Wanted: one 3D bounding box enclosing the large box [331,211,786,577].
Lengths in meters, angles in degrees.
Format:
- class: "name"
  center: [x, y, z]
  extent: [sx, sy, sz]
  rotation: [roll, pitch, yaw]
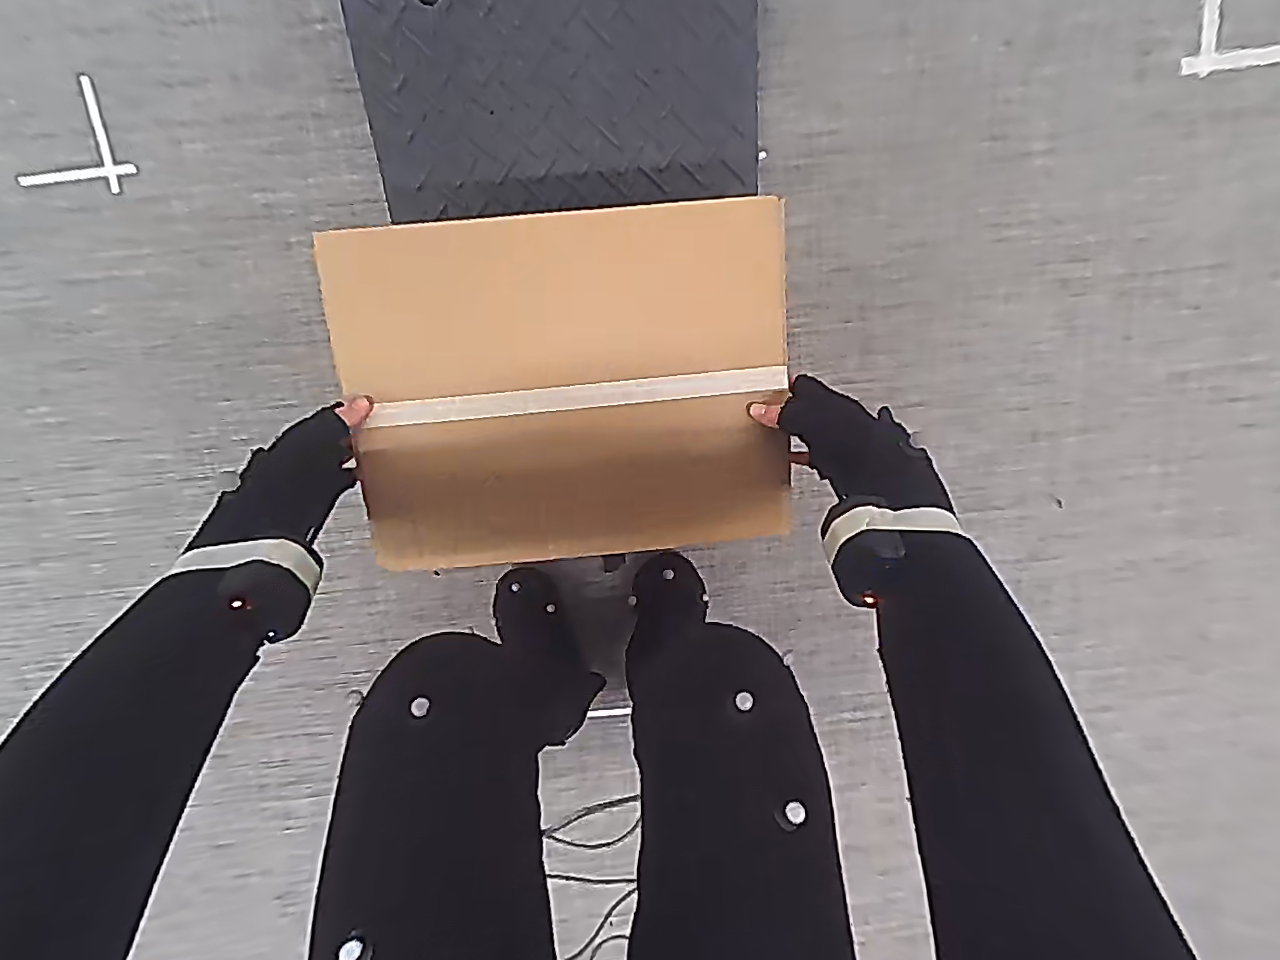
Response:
- class: "large box"
  center: [-0.068, -0.104, 0.657]
  extent: [0.408, 0.320, 0.320]
  rotation: [-5, 102, -1]
